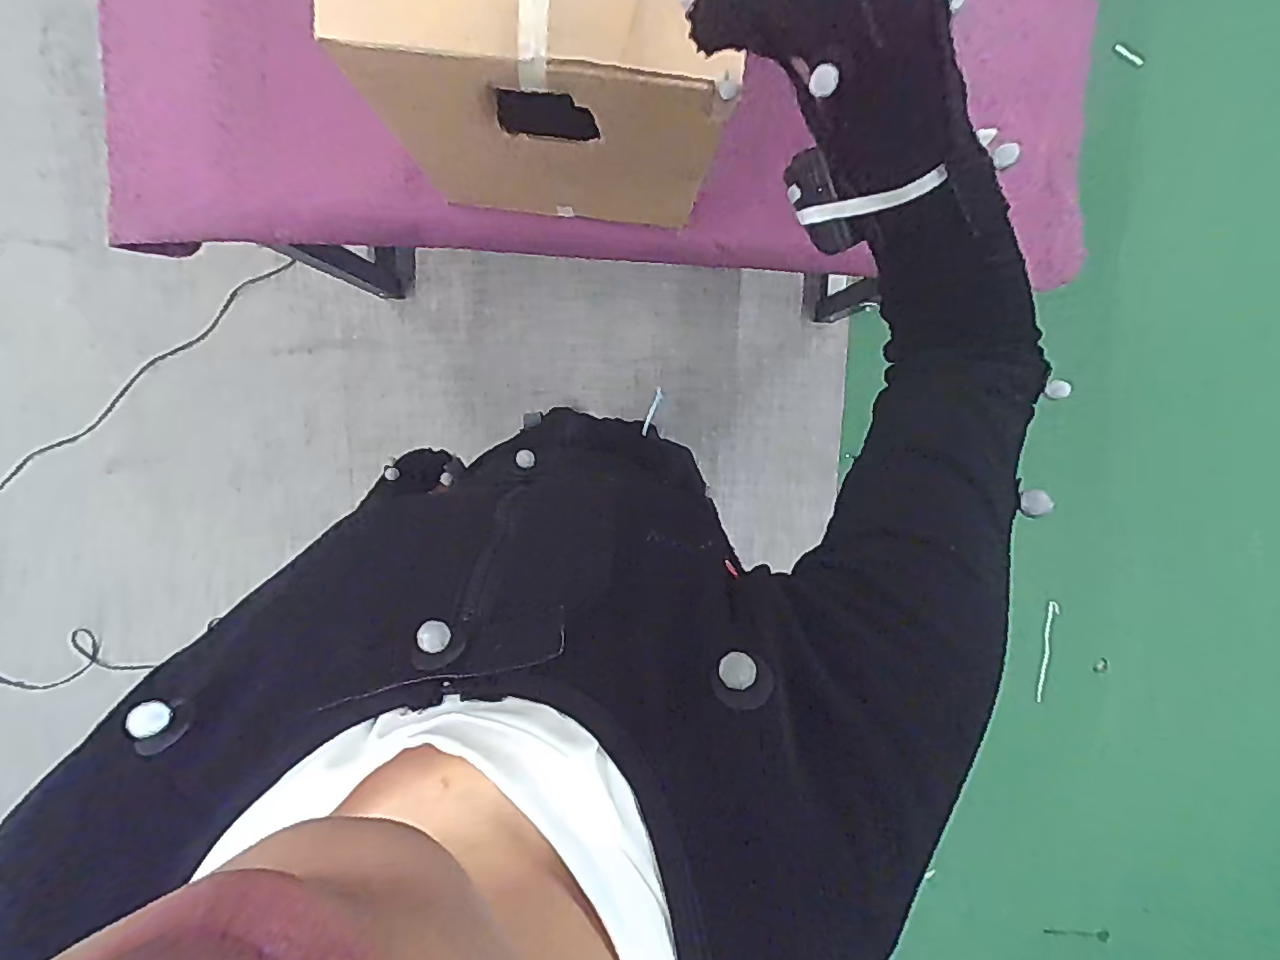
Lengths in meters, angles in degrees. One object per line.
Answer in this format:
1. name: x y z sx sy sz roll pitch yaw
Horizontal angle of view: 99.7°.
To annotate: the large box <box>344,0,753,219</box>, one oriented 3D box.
1. large box: -0.065 -0.531 0.534 0.320 0.320 0.408 5 98 -3
